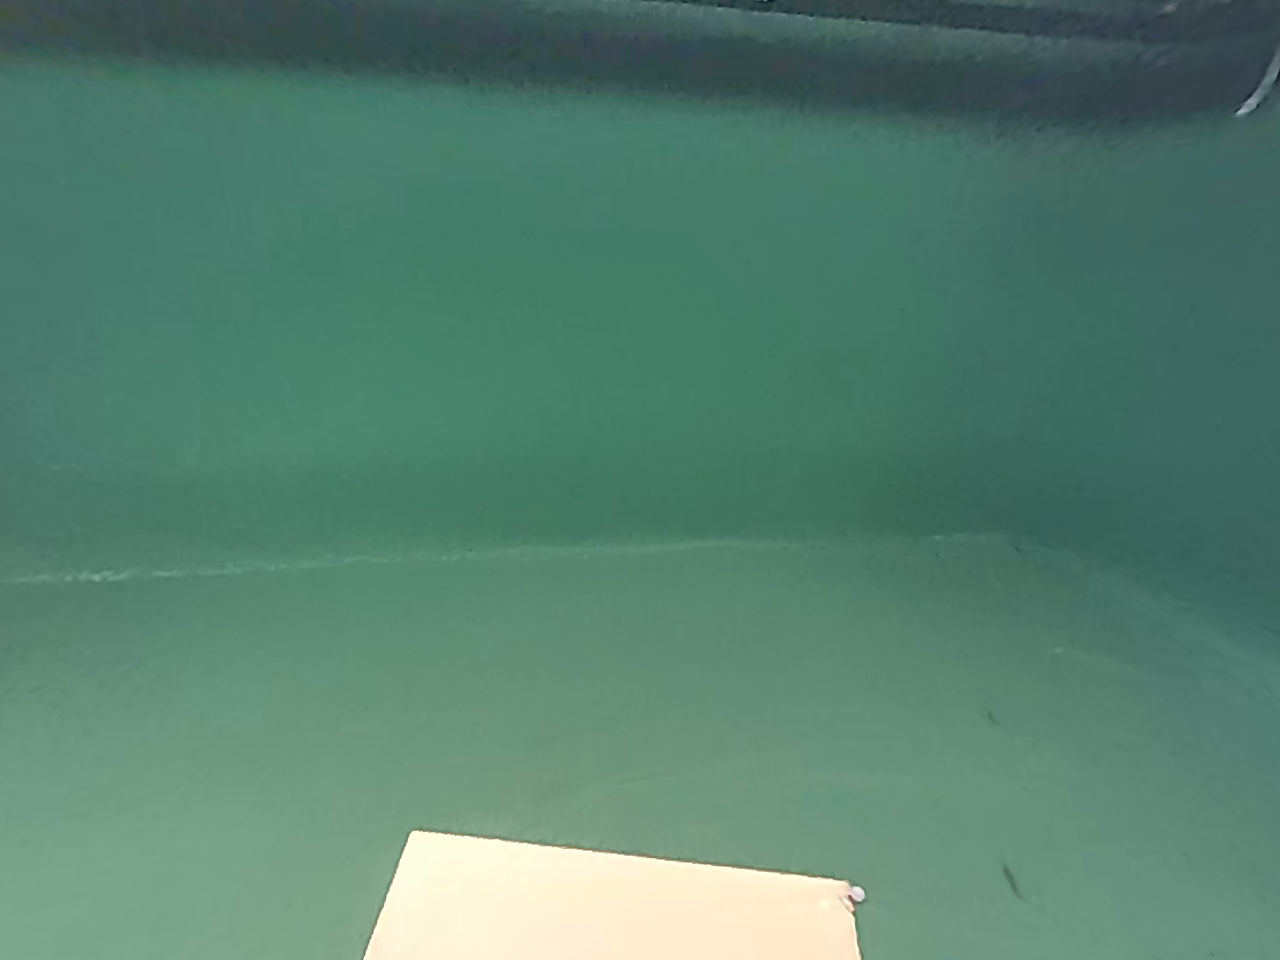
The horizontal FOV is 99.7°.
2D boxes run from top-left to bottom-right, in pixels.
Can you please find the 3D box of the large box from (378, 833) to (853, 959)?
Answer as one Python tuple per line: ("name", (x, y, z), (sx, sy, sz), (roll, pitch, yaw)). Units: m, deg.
("large box", (-0.031, 0.562, 0.492), (0.408, 0.320, 0.320), (5, 43, 3))
